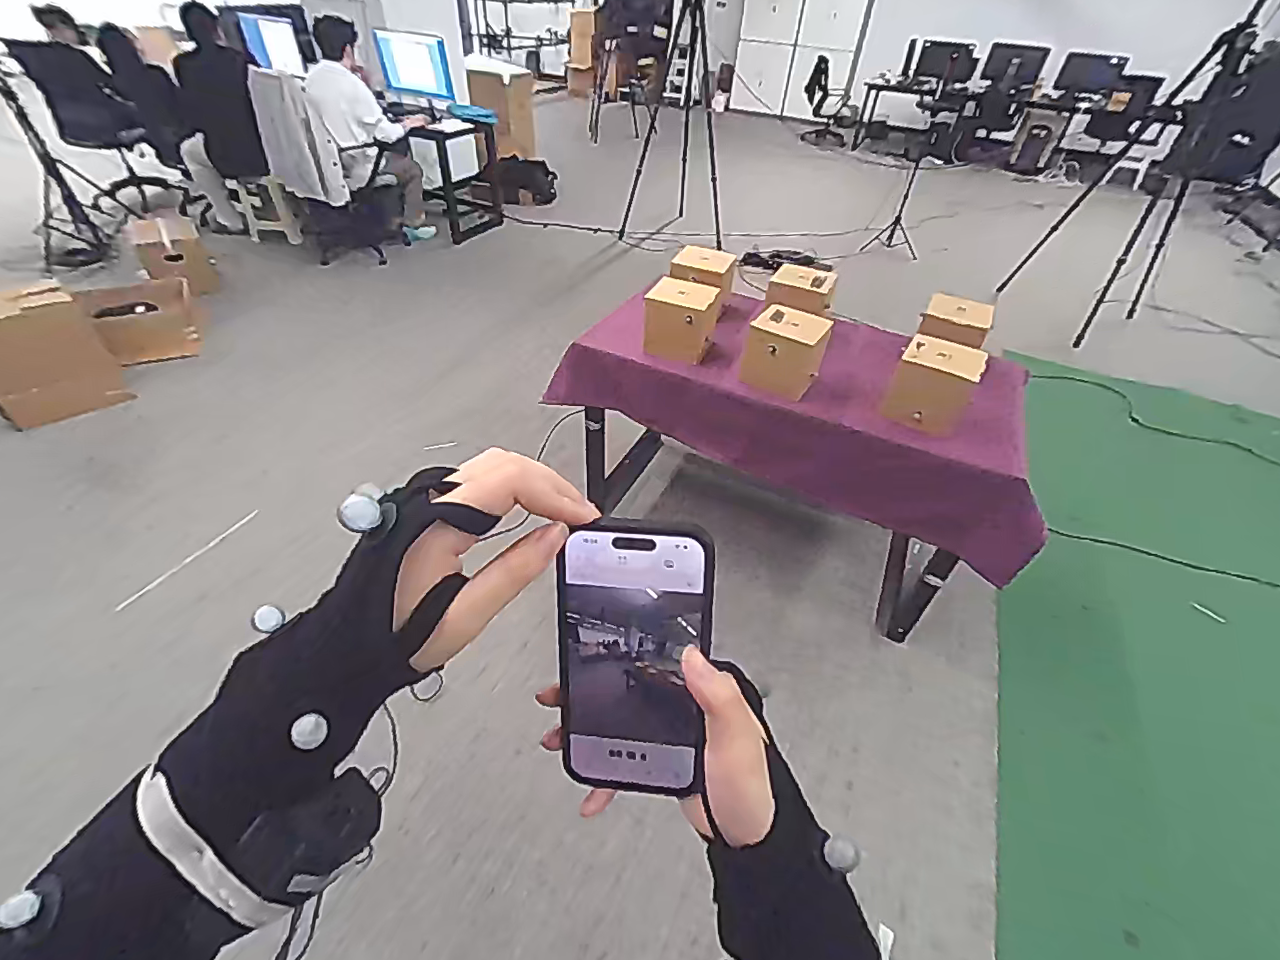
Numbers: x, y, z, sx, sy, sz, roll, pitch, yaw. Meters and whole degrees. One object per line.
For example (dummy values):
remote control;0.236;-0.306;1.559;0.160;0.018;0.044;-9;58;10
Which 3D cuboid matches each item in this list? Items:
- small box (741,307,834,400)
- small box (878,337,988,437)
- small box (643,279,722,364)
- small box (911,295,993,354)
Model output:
small box;0.390;-0.339;1.451;0.179;0.176;0.168;26;47;21
small box;0.733;-0.231;1.361;0.179;0.176;0.168;27;46;22
small box;0.118;-0.454;1.556;0.179;0.176;0.168;18;44;13
small box;0.891;-0.407;1.567;0.168;0.176;0.179;24;46;21
